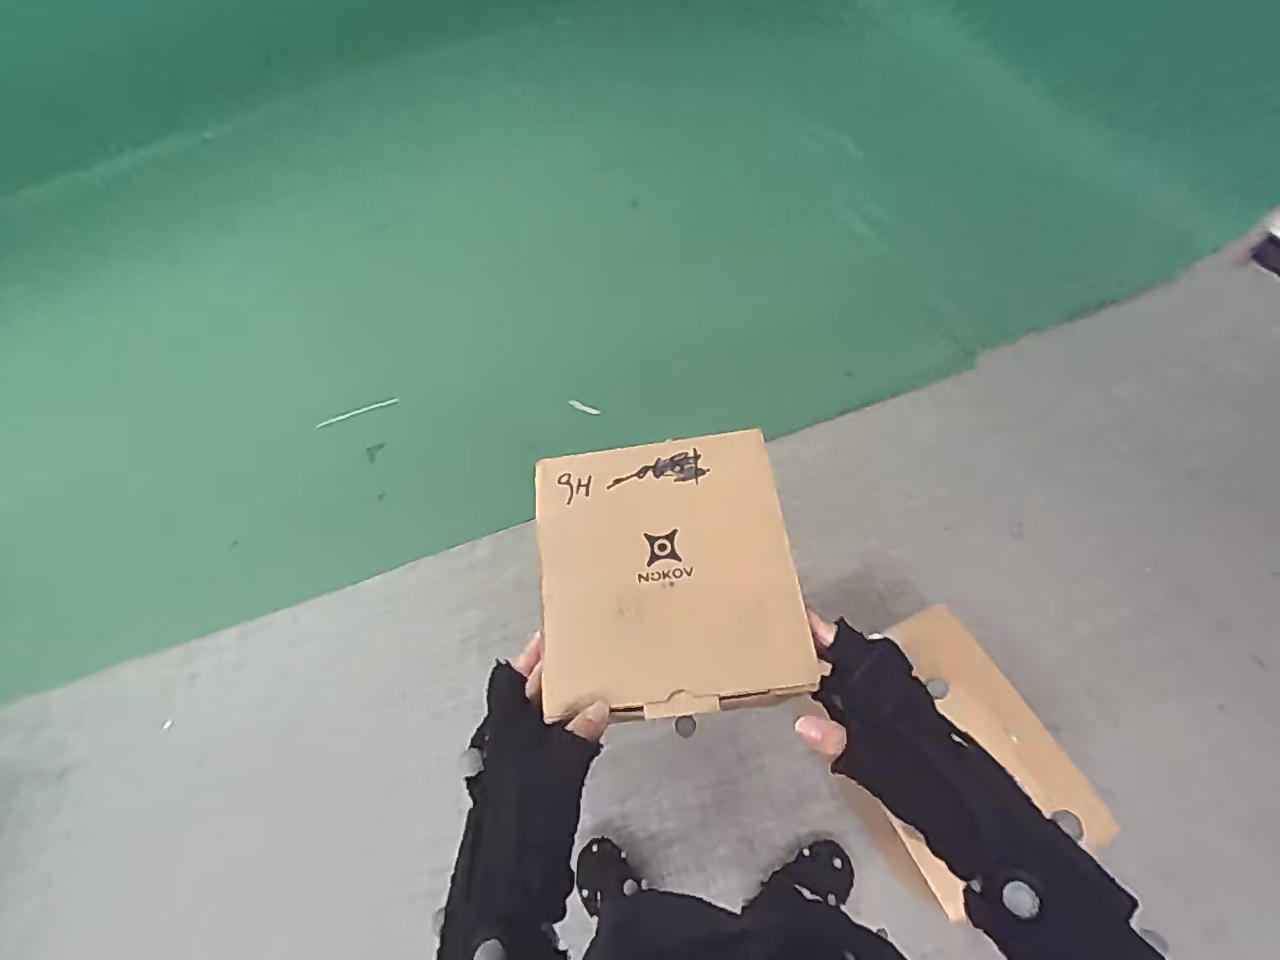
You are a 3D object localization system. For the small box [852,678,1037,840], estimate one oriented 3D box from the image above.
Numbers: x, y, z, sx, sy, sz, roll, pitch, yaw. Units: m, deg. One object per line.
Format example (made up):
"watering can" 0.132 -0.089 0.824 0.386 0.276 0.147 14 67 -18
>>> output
"small box" 0.461 0.437 0.854 0.168 0.176 0.179 -20 59 -1
